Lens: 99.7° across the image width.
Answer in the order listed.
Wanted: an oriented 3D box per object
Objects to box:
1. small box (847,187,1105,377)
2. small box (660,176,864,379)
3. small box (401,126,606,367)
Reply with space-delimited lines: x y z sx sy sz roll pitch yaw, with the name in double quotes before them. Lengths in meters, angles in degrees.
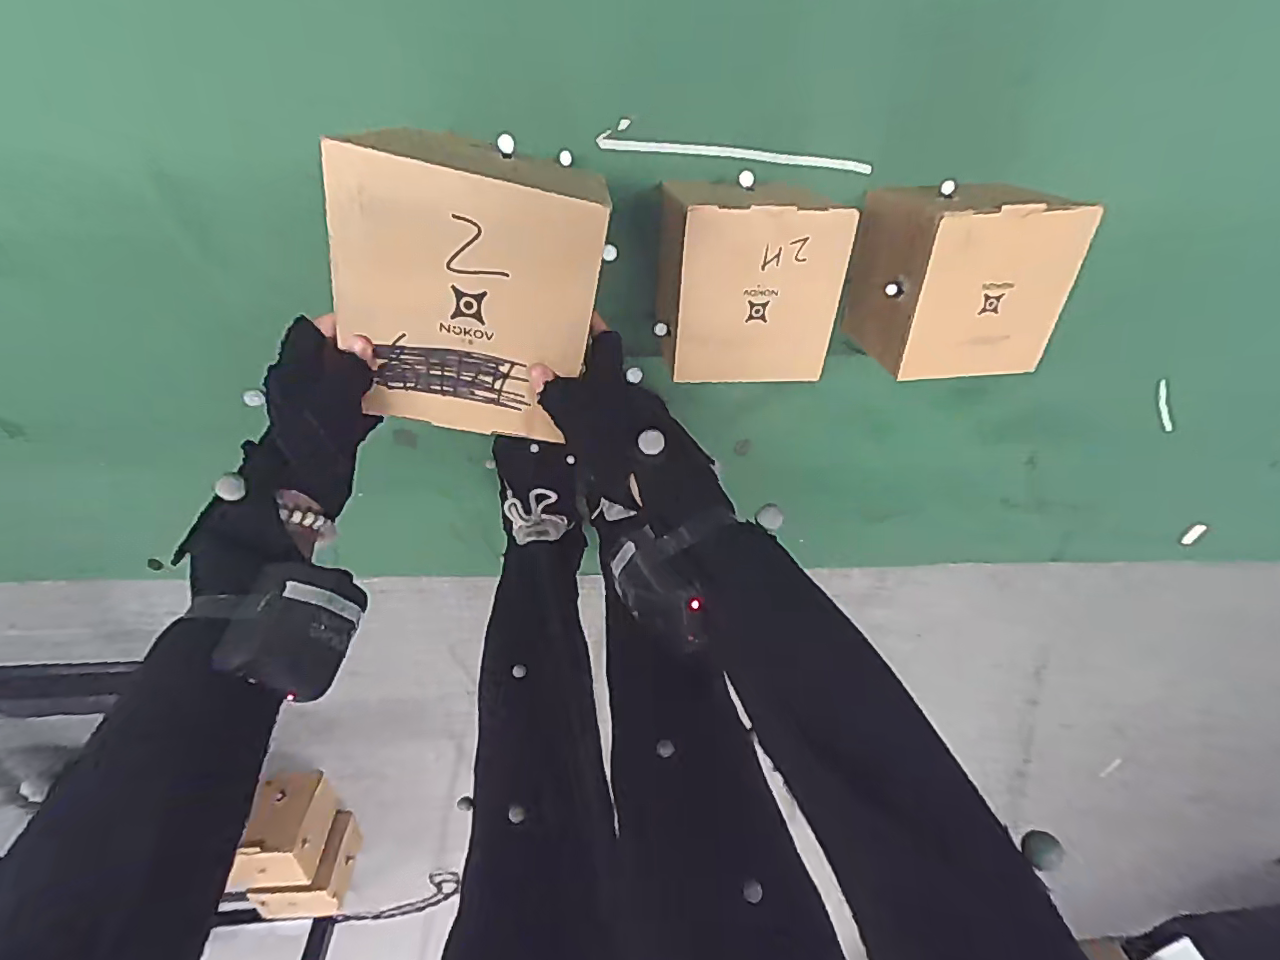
"small box" 0.363 -0.236 0.629 0.168 0.176 0.179 -3 125 -4
"small box" 0.116 -0.228 0.604 0.168 0.176 0.179 -1 125 -6
"small box" -0.138 -0.246 0.562 0.168 0.176 0.179 10 124 -13
